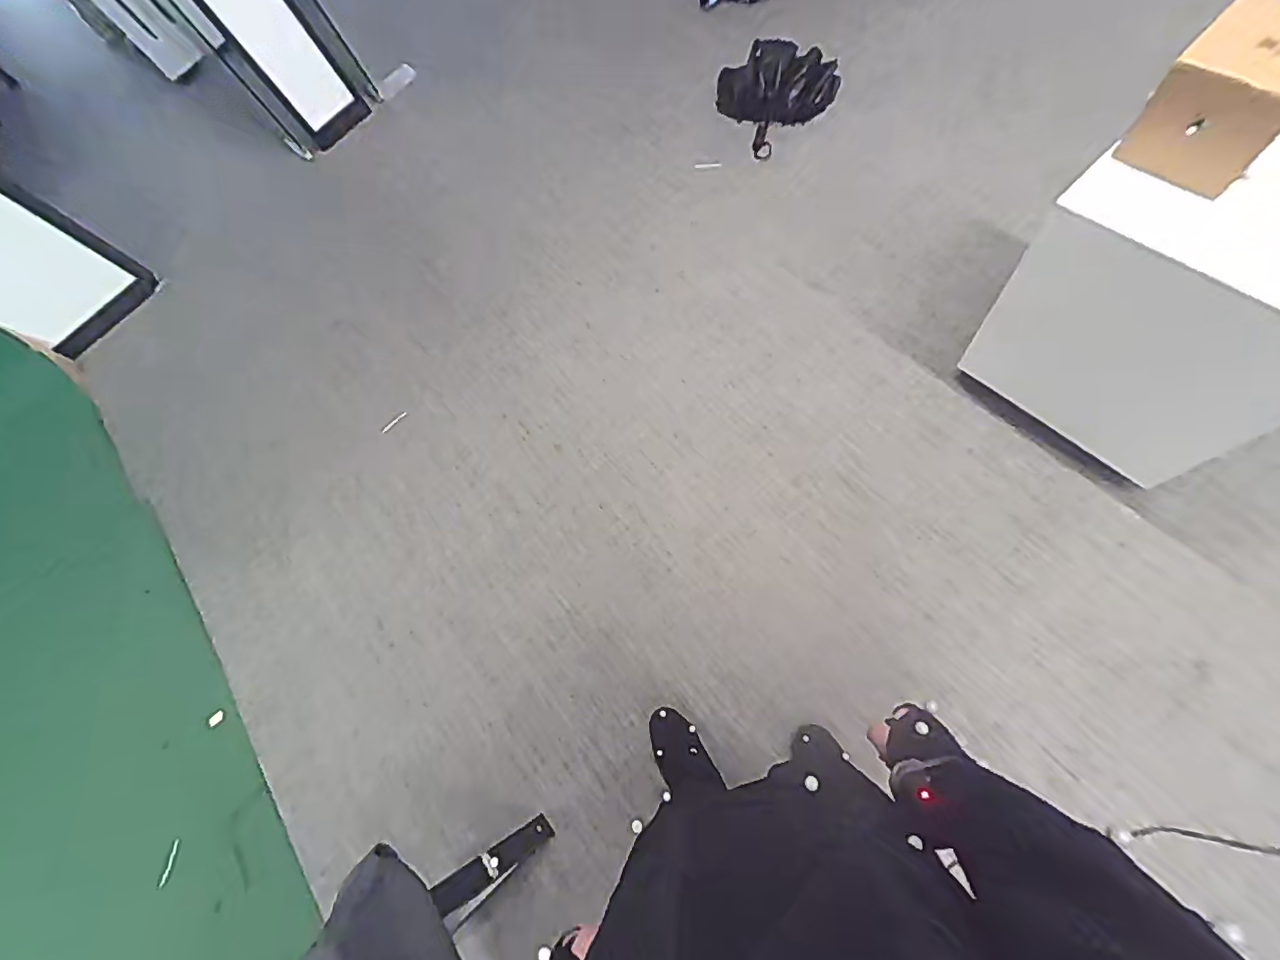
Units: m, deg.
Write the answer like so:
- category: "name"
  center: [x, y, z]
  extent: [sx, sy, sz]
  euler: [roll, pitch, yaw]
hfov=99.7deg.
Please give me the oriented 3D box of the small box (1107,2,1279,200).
- category: "small box"
  center: [0.907, -0.579, 0.846]
  extent: [0.168, 0.176, 0.179]
  euler: [-44, 67, -5]
